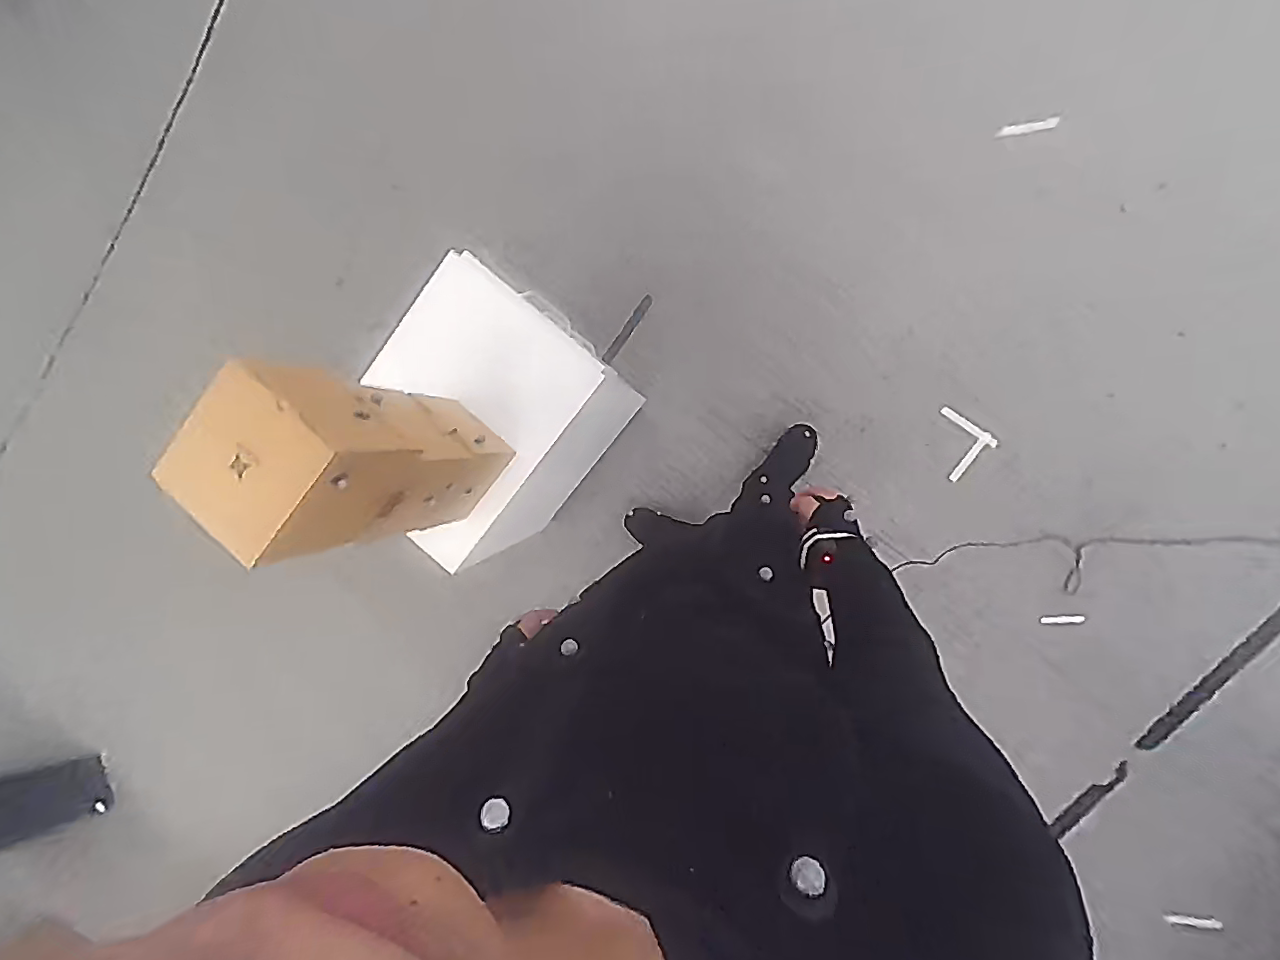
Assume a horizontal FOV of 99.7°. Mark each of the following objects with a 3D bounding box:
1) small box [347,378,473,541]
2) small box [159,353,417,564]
[{"bbox_3d":[-0.398,-0.032,0.831,0.179,0.176,0.168,42,100,4],"label":"small box"},{"bbox_3d":[-0.417,-0.026,0.669,0.168,0.176,0.179,41,98,5],"label":"small box"}]
